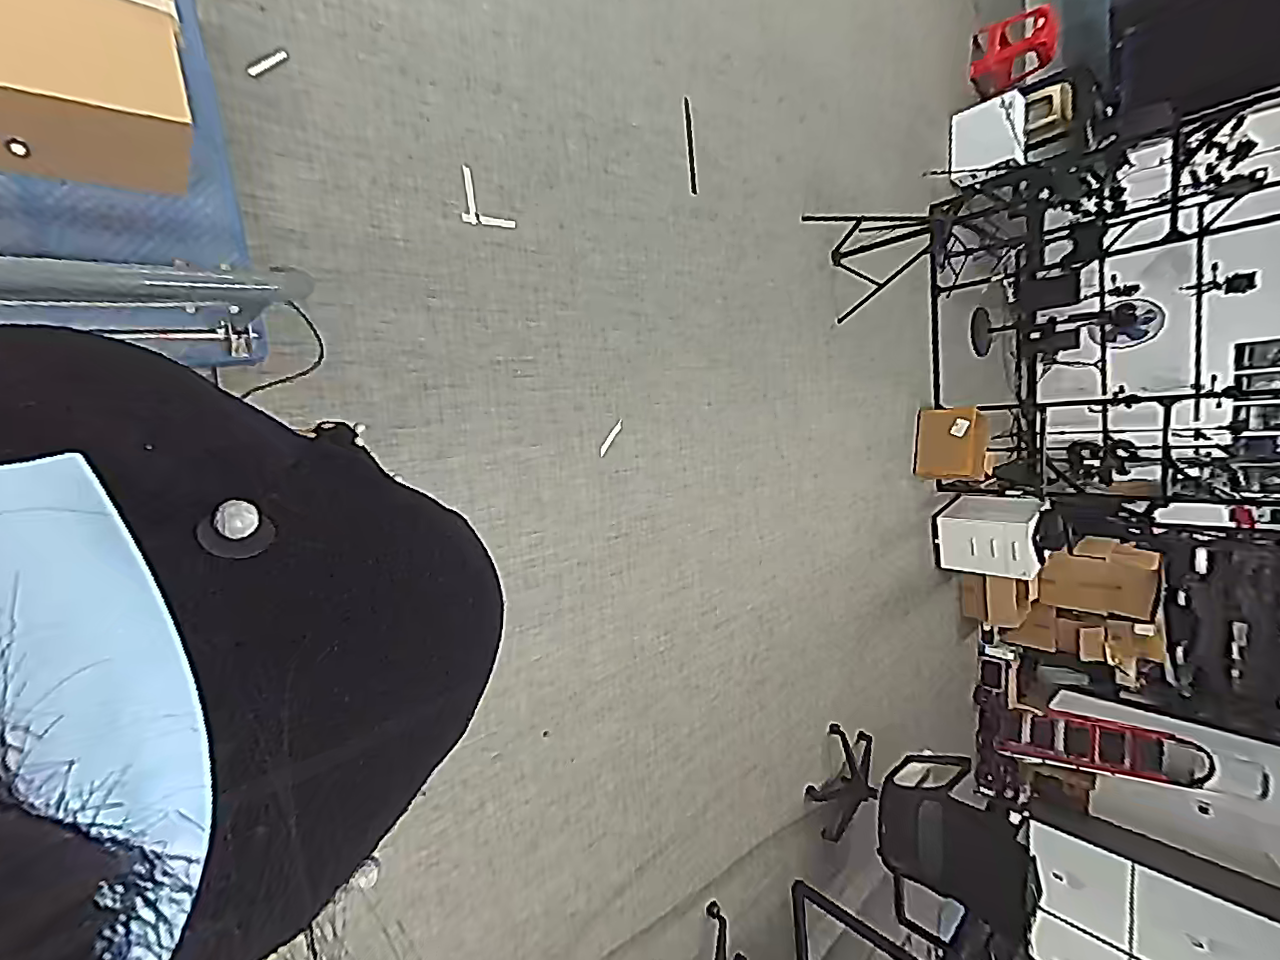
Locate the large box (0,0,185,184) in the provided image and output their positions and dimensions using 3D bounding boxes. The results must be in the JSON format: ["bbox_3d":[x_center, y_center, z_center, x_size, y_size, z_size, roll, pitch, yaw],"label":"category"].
[{"bbox_3d":[-0.946,-0.665,0.774,0.408,0.320,0.320,-13,100,-40],"label":"large box"}]
